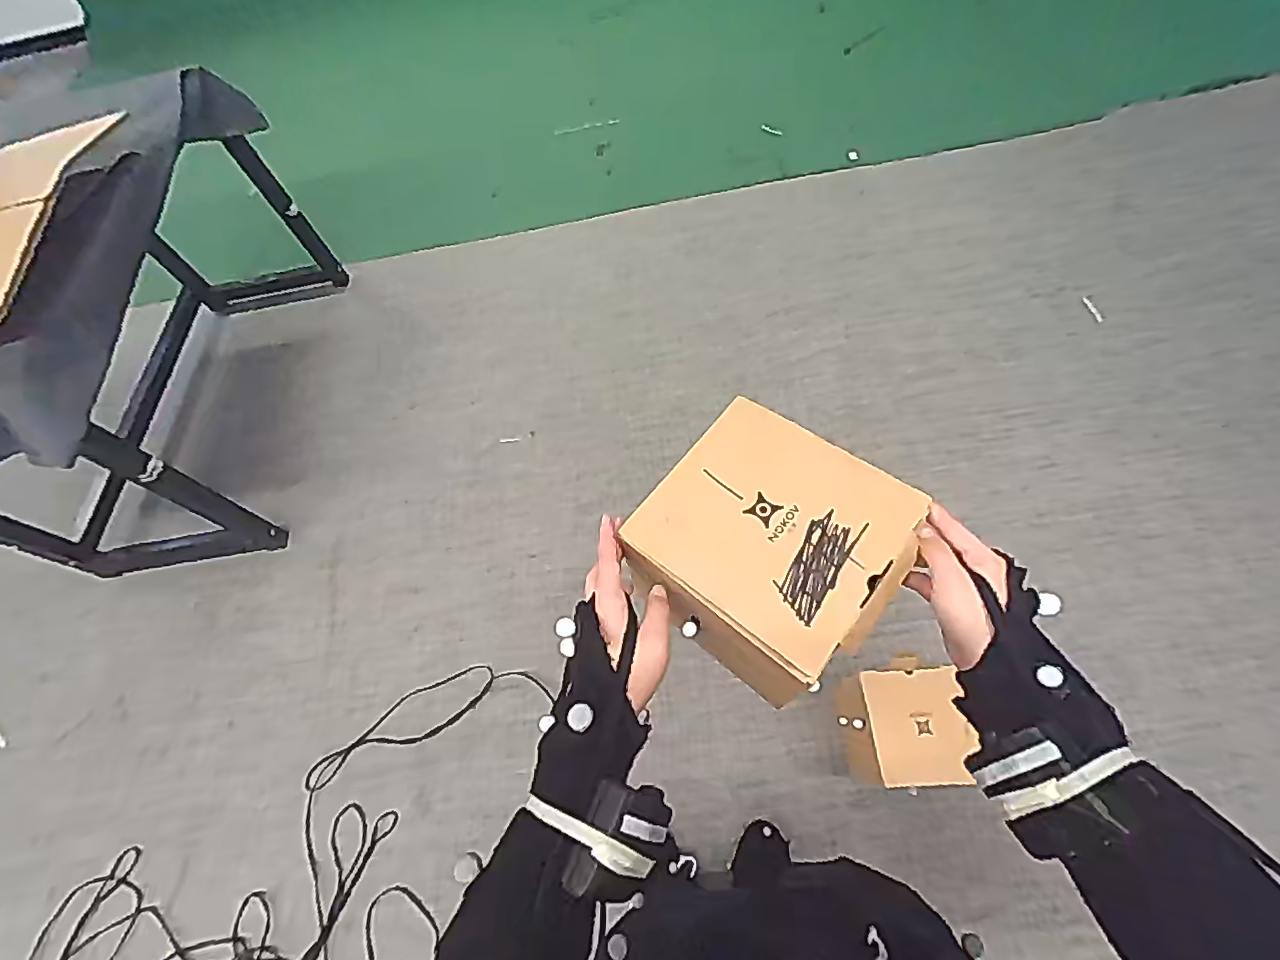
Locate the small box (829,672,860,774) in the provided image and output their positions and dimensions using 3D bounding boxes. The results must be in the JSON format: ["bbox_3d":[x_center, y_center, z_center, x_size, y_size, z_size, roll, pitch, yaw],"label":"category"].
[{"bbox_3d":[0.494,0.491,1.093,0.168,0.176,0.179,-6,60,5],"label":"small box"}]

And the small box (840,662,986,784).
[{"bbox_3d":[0.461,0.427,0.946,0.168,0.176,0.179,-6,61,6],"label":"small box"}]
